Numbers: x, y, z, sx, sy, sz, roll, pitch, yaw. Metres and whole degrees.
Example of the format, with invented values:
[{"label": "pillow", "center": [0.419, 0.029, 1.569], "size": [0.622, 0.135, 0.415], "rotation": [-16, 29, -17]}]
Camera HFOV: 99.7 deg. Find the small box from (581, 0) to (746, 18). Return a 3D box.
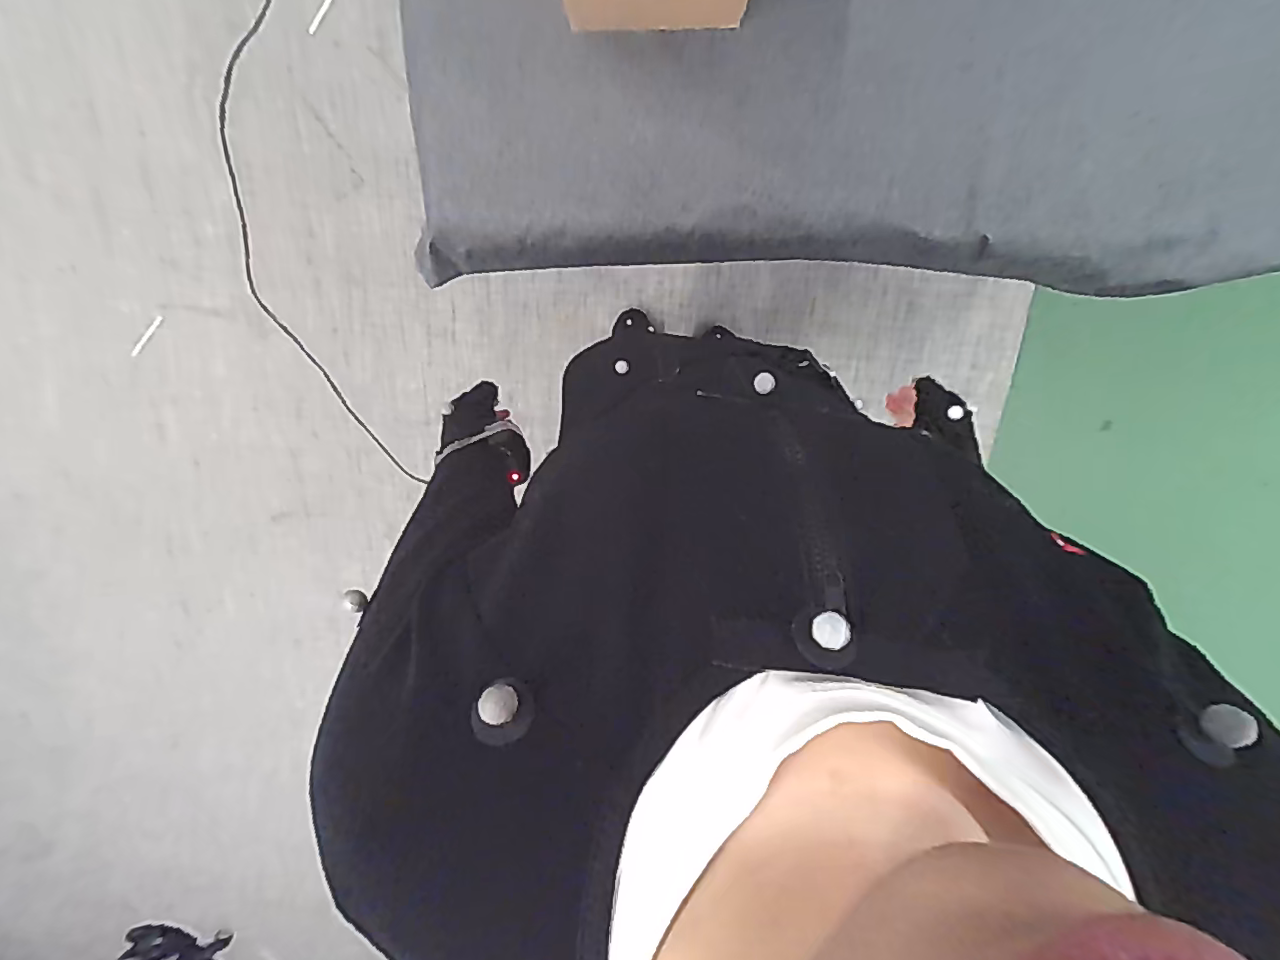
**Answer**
[{"label": "small box", "center": [0.023, -0.529, 0.460], "size": [0.179, 0.176, 0.168], "rotation": [0, 110, 0]}]
